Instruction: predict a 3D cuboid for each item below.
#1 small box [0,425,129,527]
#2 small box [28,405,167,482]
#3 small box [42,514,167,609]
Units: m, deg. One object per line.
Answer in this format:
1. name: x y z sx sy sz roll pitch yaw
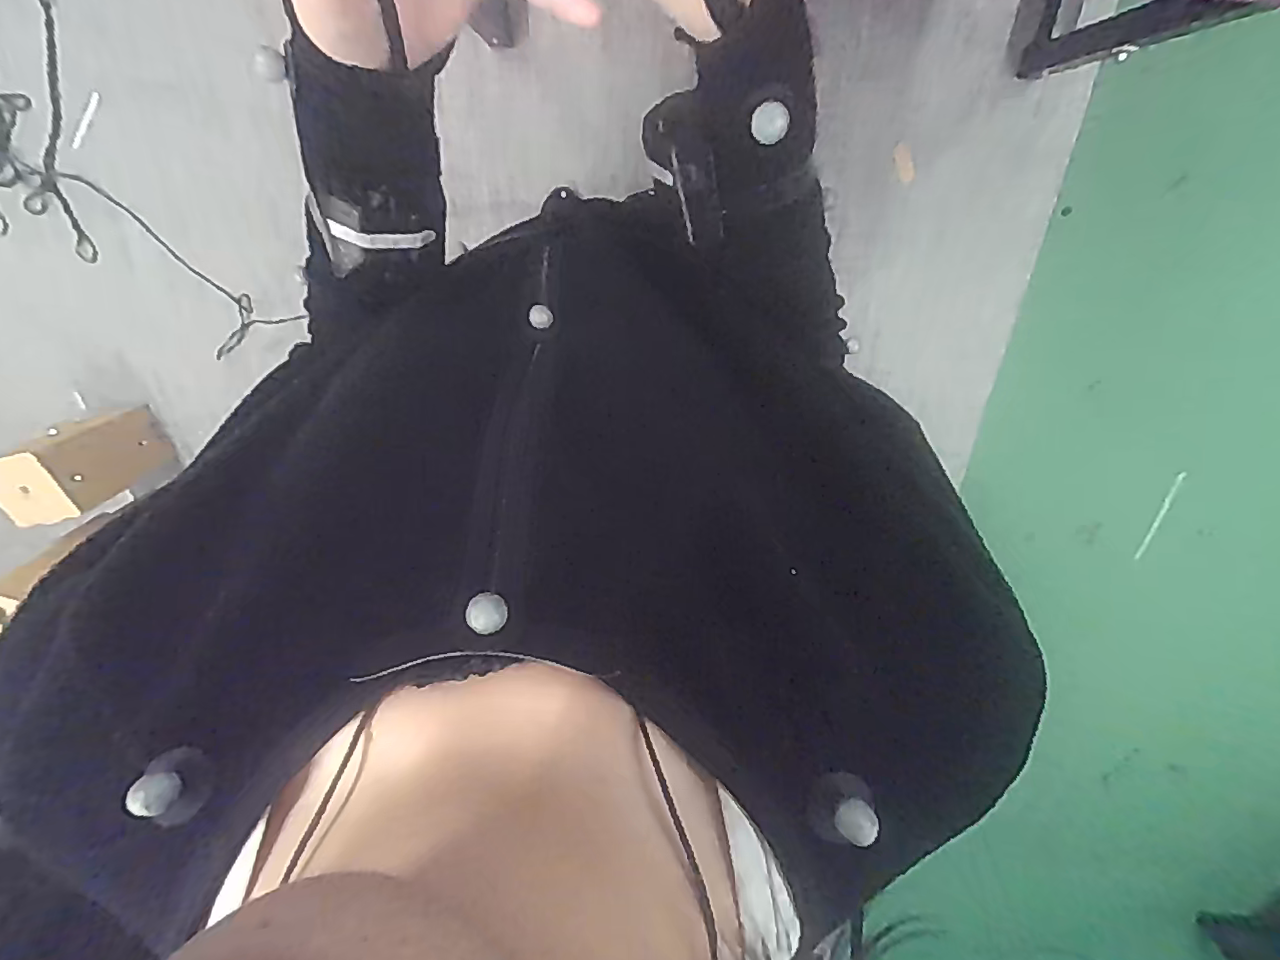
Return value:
1. small box: -1.417 -0.012 1.309 0.168 0.176 0.179 -10 118 3
2. small box: -1.433 -0.093 1.450 0.179 0.176 0.168 -6 118 3
3. small box: -1.405 0.219 1.433 0.168 0.176 0.179 16 115 -8
